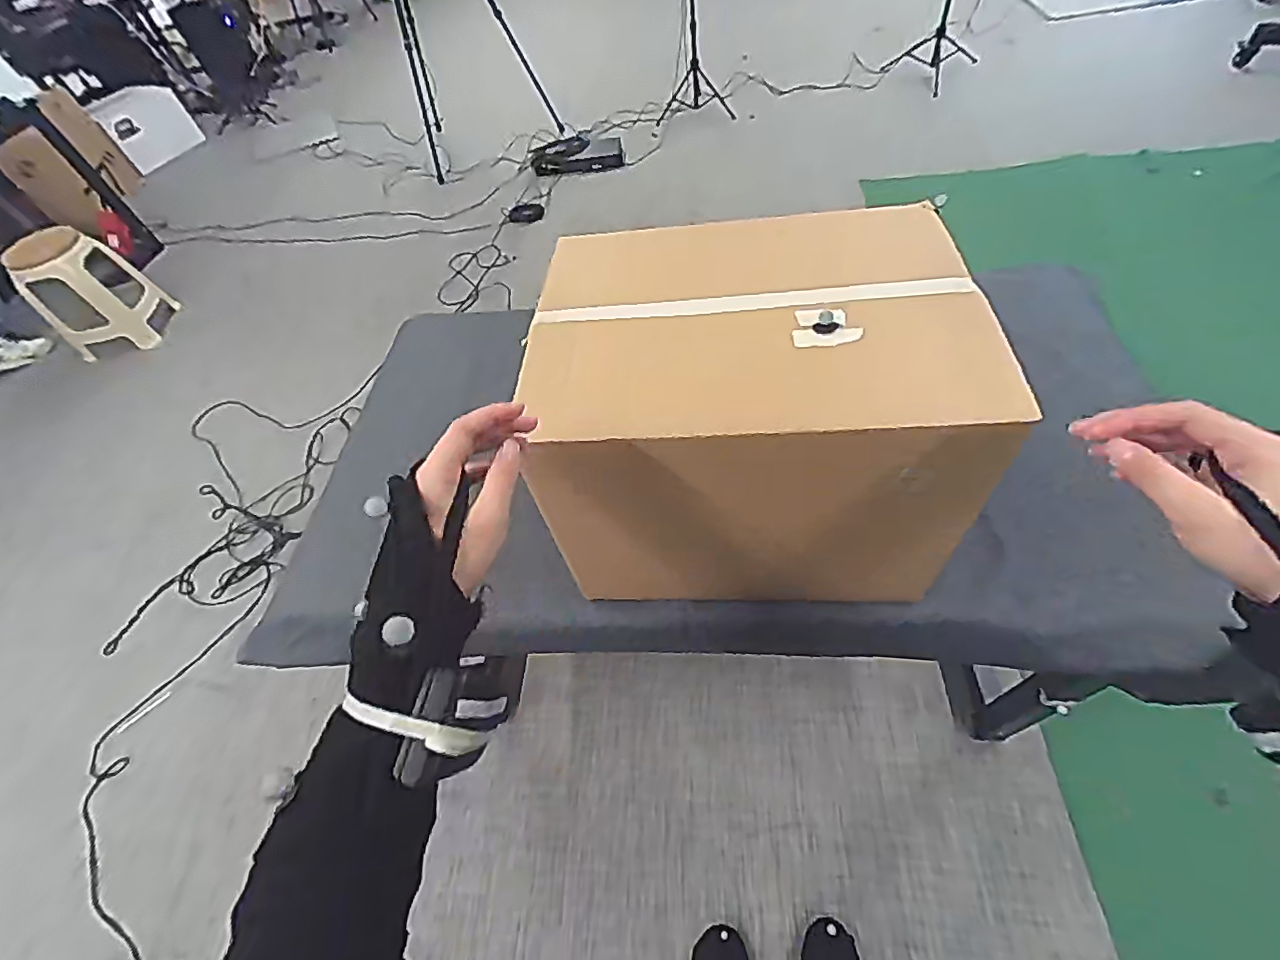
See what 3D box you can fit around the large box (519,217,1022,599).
[{"bbox_3d":[0.116,-0.067,0.635,0.408,0.320,0.320,-2,53,8],"label":"large box"}]
